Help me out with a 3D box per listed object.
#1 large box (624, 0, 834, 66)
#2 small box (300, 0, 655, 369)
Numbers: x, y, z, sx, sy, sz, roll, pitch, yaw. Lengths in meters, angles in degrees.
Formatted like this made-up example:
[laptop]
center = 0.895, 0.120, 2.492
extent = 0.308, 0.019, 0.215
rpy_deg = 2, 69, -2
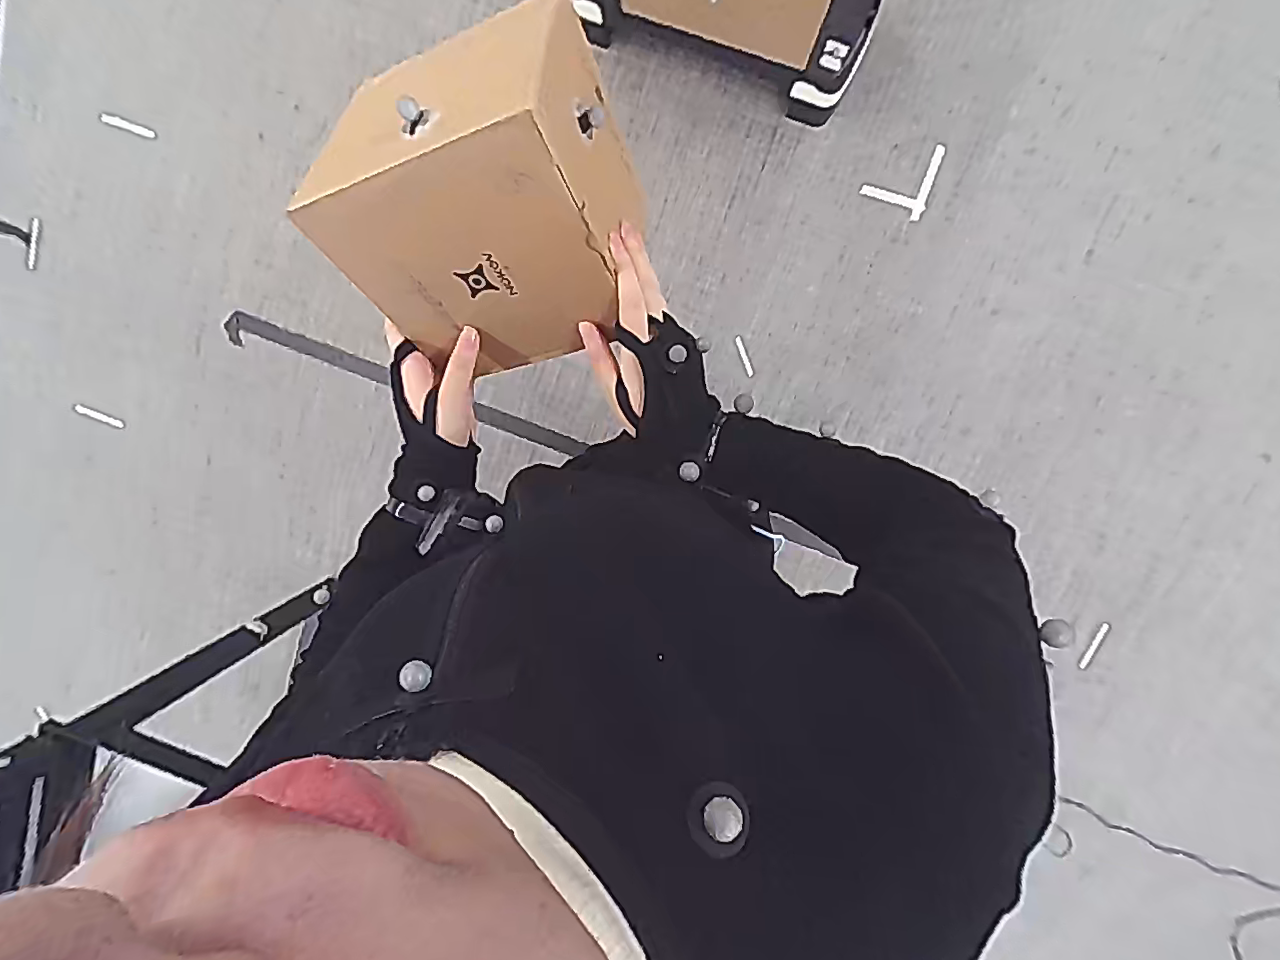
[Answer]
[large box]
center = 0.187, -1.020, 0.944
extent = 0.408, 0.320, 0.320
rpy_deg = 19, 100, 3
[small box]
center = -0.094, -0.213, 0.398
extent = 0.179, 0.168, 0.176
rpy_deg = -8, 57, 18
